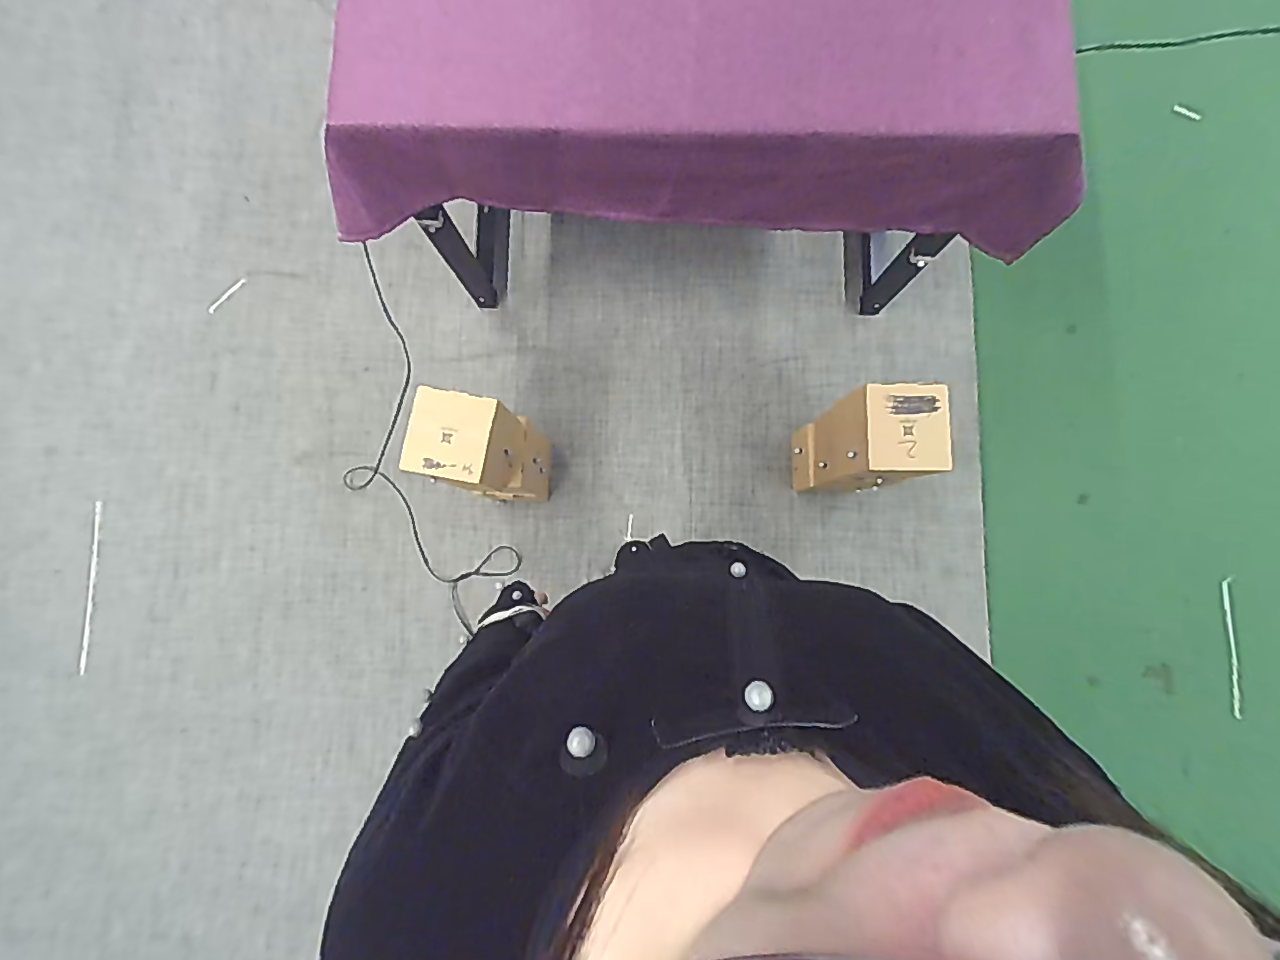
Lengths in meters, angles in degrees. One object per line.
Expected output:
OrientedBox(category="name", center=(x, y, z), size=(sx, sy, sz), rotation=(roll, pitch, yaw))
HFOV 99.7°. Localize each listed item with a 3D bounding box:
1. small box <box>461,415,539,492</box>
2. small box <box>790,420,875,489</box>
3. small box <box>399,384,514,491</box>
OrientedBox(category="small box", center=(-0.351, -0.062, 1.303), size=(0.179, 0.176, 0.168), rotation=(3, 84, 0))
OrientedBox(category="small box", center=(0.512, -0.065, 1.464), size=(0.179, 0.176, 0.168), rotation=(-1, 84, 0))
OrientedBox(category="small box", center=(-0.375, -0.083, 1.140), size=(0.168, 0.176, 0.179), rotation=(11, 83, 2))
